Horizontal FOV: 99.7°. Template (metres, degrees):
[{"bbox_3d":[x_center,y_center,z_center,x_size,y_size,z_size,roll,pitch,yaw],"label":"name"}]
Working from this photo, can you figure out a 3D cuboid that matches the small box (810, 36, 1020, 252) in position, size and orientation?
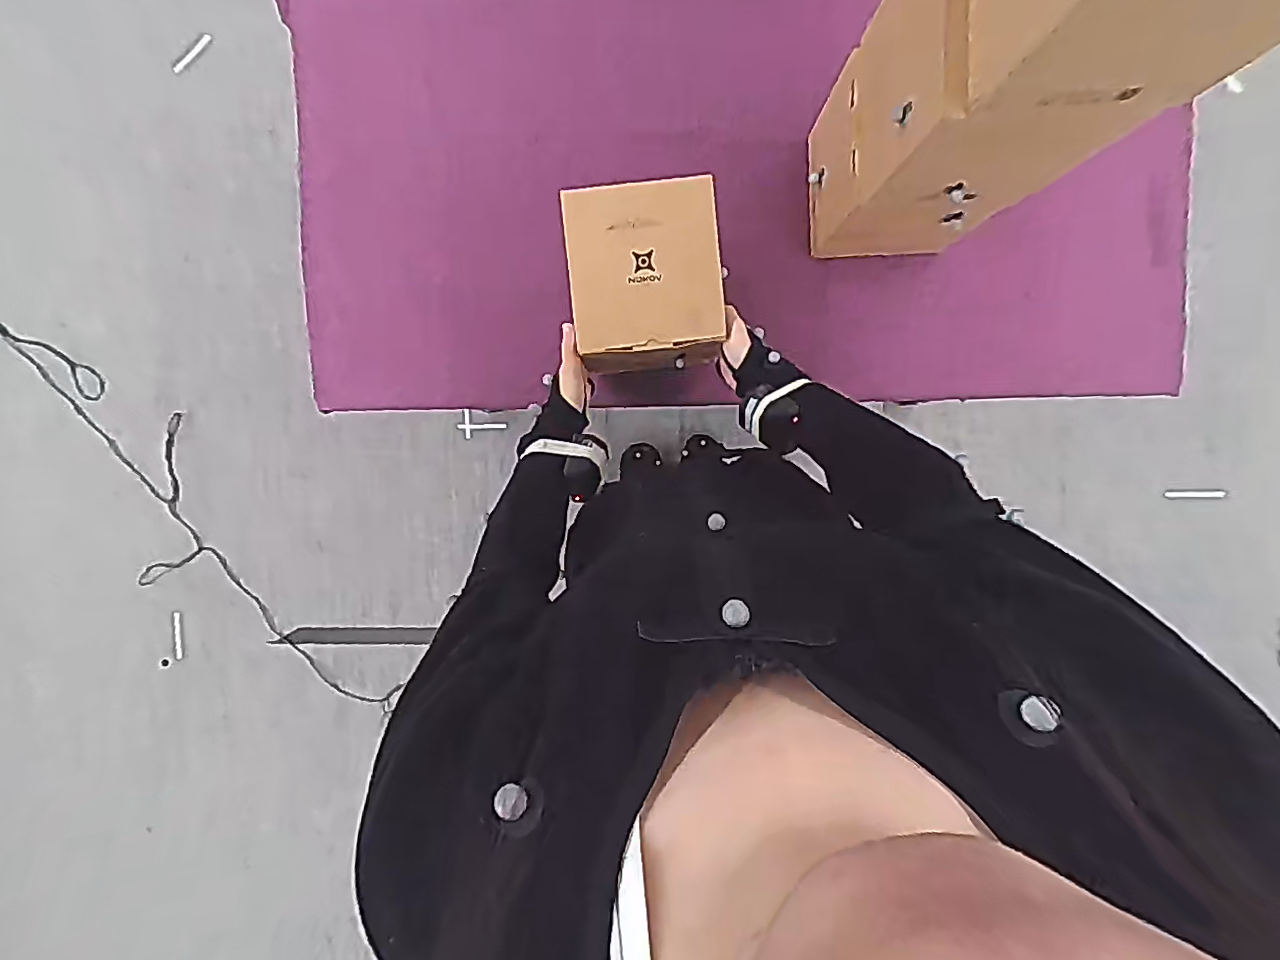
[{"bbox_3d":[0.317,-0.388,0.653,0.179,0.176,0.168,-2,93,2],"label":"small box"}]

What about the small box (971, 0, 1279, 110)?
[{"bbox_3d":[0.327,-0.366,0.326,0.168,0.176,0.179,-2,94,2],"label":"small box"}]

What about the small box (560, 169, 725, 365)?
[{"bbox_3d":[0.004,-0.240,0.657,0.168,0.176,0.179,-7,93,0],"label":"small box"}]
